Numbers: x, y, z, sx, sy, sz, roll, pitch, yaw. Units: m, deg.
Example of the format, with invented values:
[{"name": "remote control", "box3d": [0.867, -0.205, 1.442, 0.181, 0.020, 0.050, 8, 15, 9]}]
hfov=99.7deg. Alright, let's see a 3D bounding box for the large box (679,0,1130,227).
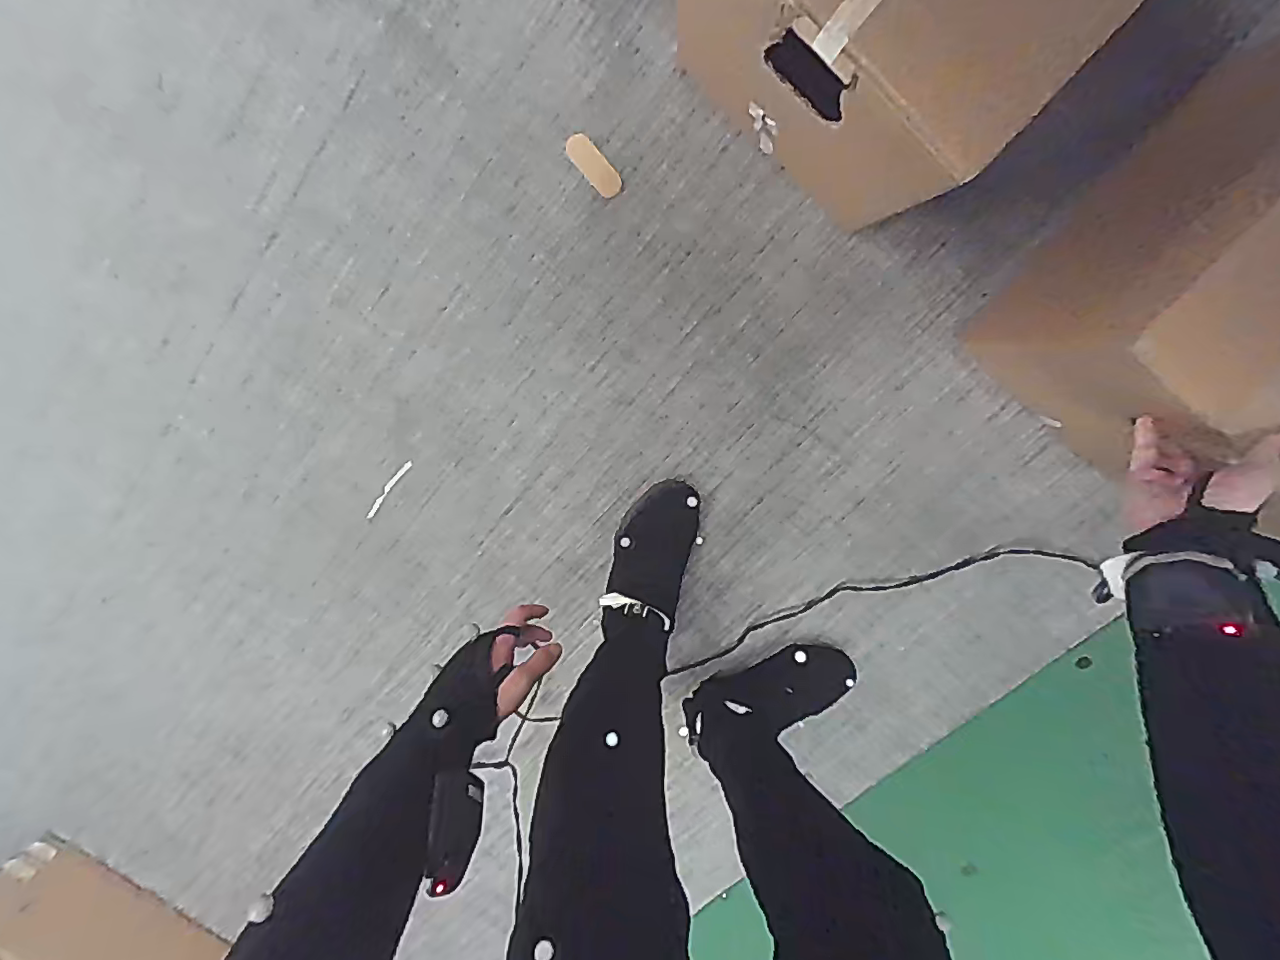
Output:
[{"name": "large box", "box3d": [0.275, -0.518, 0.489, 0.320, 0.320, 0.408, 39, 106, -8]}]
